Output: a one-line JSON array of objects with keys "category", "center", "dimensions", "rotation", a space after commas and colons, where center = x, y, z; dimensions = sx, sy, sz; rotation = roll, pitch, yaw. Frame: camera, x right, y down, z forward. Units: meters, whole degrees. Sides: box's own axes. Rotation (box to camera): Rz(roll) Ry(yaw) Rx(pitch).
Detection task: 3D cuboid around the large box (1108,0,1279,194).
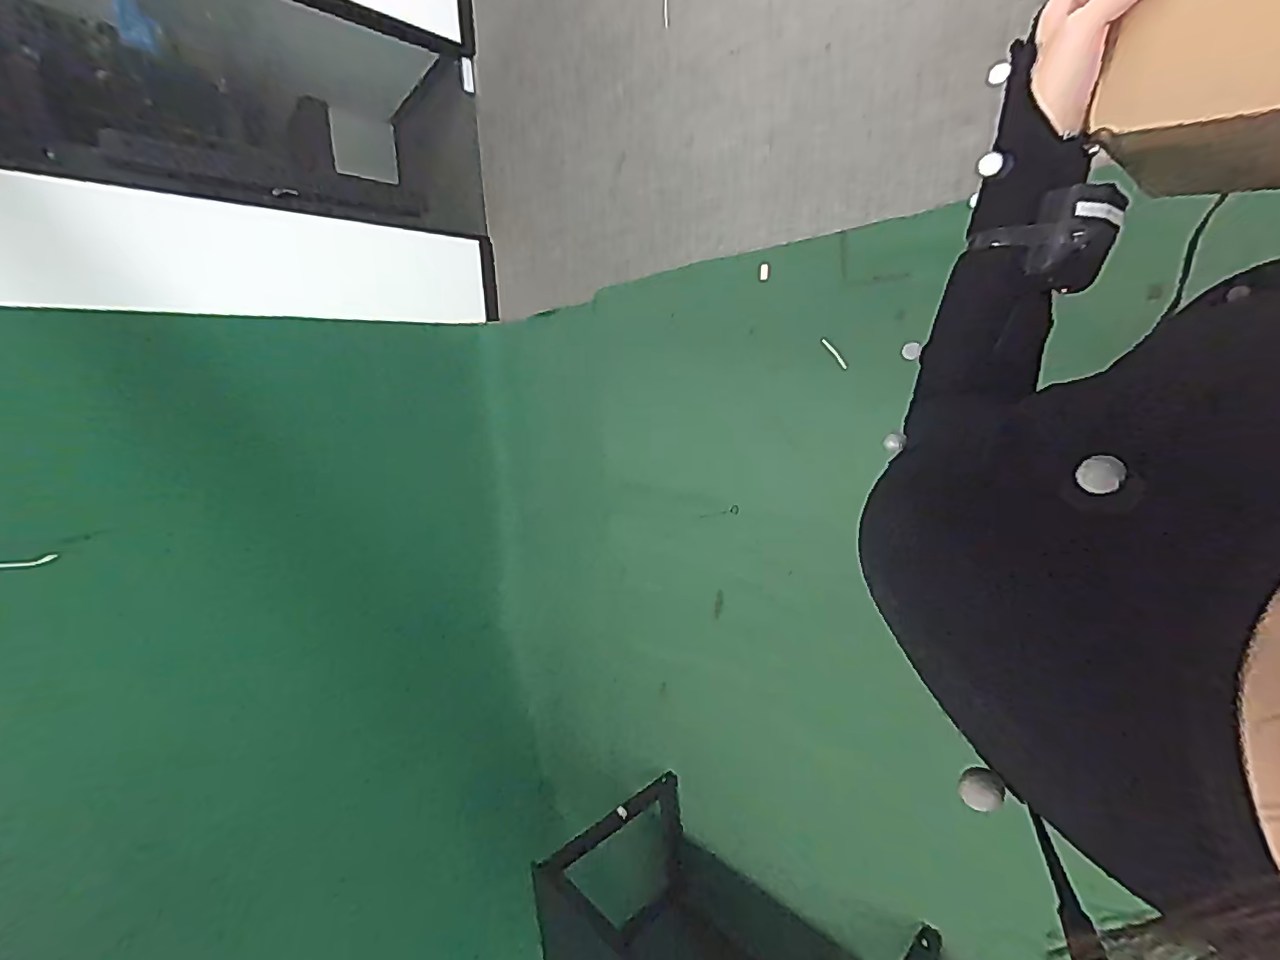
[{"category": "large box", "center": [0.566, -0.371, 0.292], "dimensions": [0.408, 0.320, 0.320], "rotation": [19, 116, 43]}]
